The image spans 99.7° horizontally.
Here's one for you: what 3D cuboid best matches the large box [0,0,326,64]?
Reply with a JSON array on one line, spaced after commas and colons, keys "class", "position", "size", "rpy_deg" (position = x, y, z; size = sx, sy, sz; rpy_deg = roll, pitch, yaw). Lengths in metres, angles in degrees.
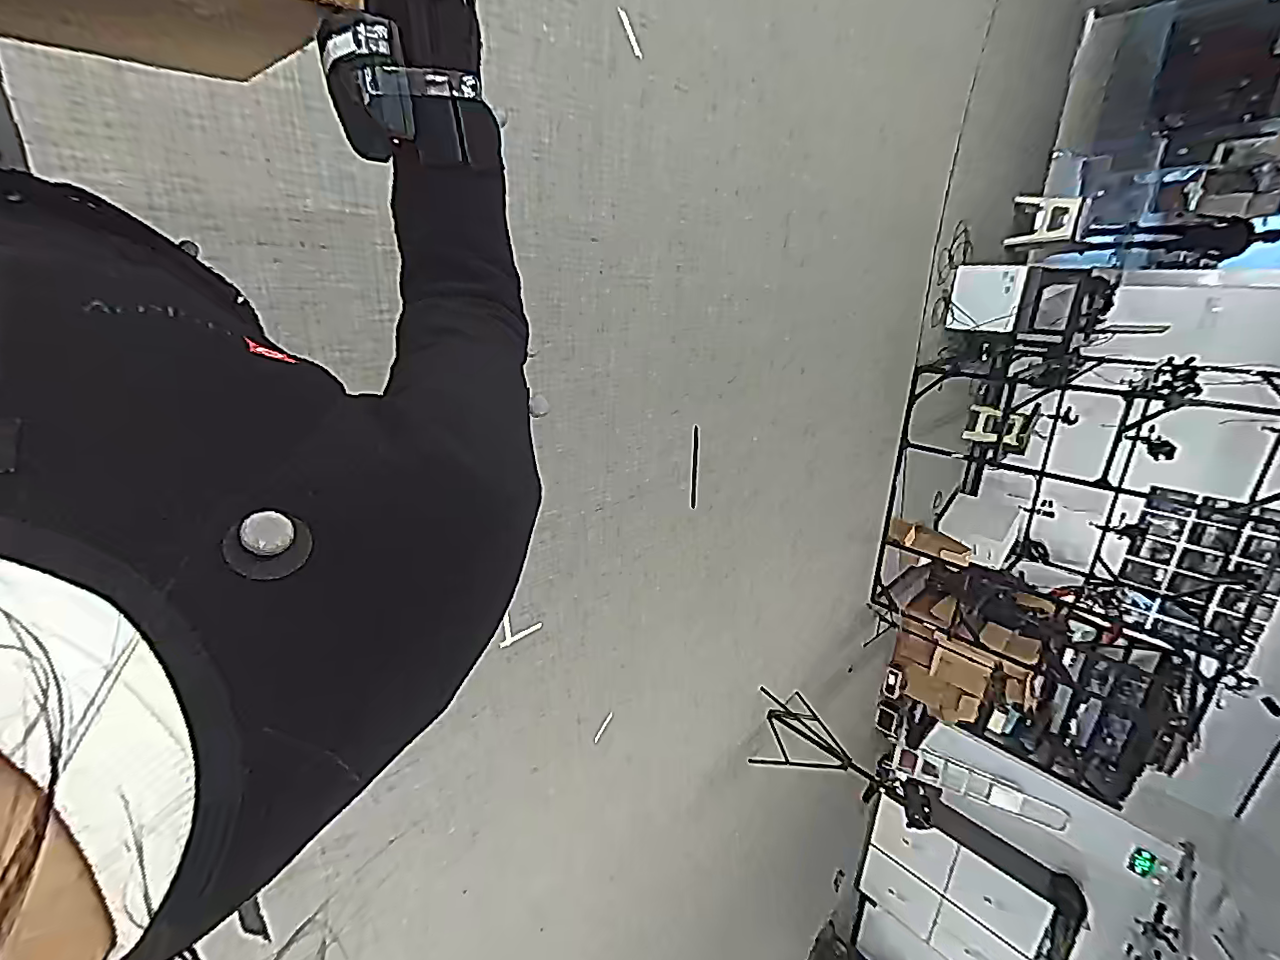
[{"class": "large box", "position": [-0.406, -0.414, 0.215], "size": [0.408, 0.320, 0.320], "rpy_deg": [-20, 125, -41]}]
